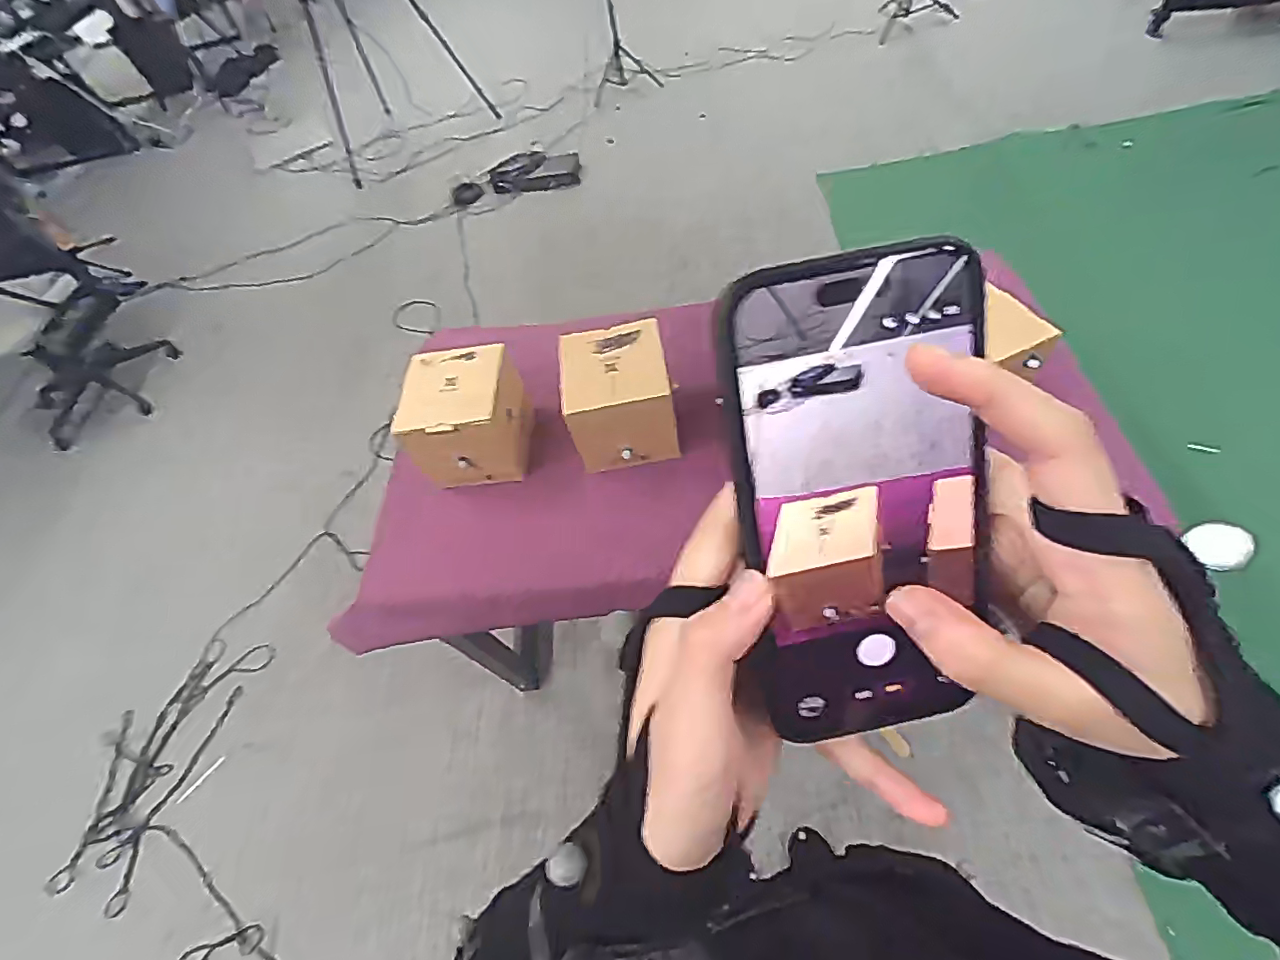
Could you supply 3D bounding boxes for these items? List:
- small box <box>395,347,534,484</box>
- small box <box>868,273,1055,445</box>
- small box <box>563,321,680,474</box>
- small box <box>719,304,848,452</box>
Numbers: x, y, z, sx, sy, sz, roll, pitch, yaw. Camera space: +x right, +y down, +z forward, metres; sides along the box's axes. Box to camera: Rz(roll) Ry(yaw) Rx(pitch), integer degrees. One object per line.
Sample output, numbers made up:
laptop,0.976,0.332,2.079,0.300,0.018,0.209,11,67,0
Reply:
small box,-0.294,-0.104,0.952,0.168,0.176,0.179,-6,57,8
small box,0.481,-0.183,0.847,0.179,0.176,0.168,-24,55,-5
small box,-0.030,-0.136,0.920,0.168,0.176,0.179,-11,56,5
small box,0.226,-0.159,0.884,0.179,0.176,0.168,-4,57,9
